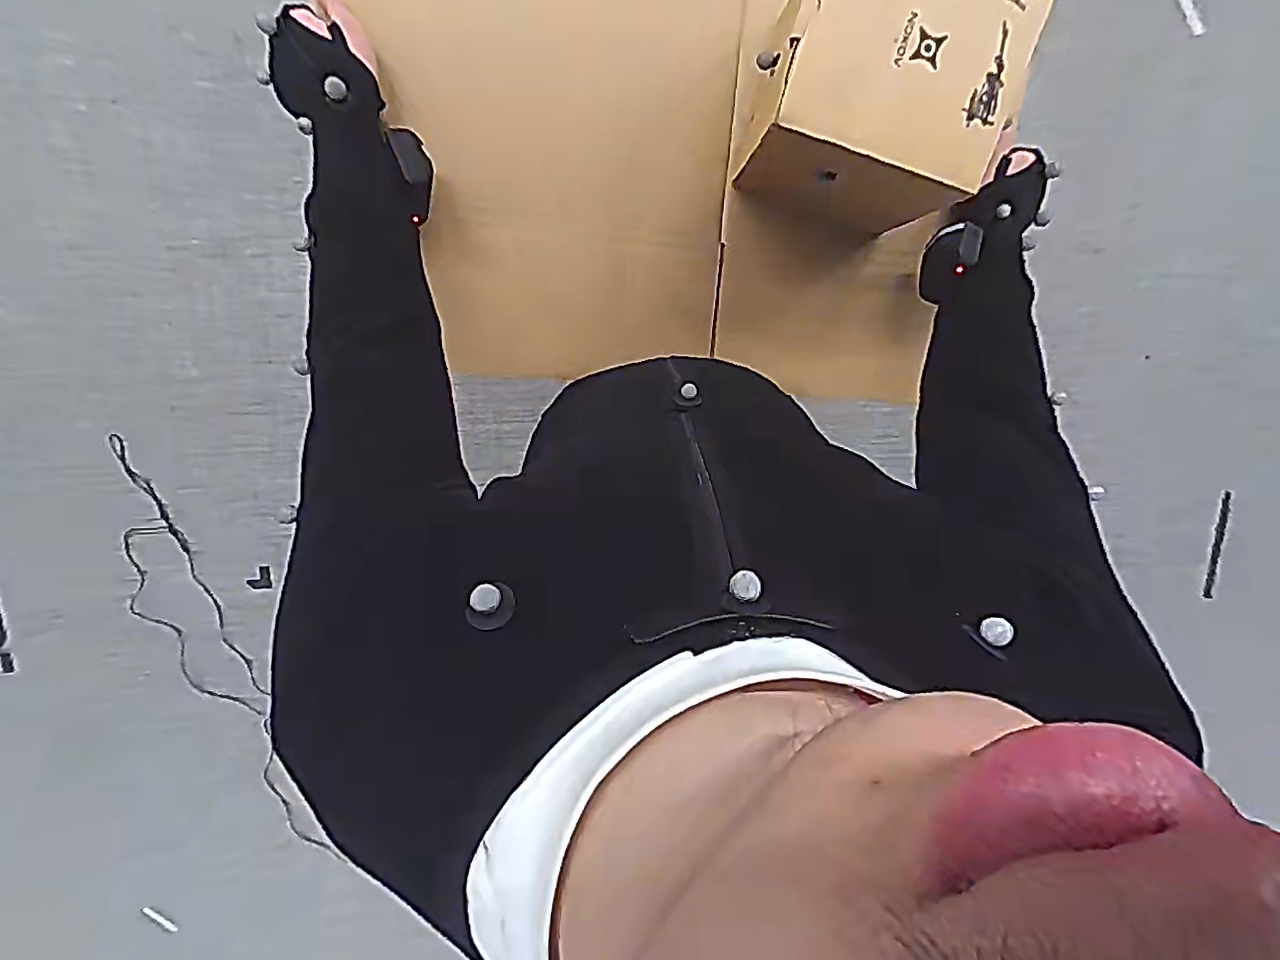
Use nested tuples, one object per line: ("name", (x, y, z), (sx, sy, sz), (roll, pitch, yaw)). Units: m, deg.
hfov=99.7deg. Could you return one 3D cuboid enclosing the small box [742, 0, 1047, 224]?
("small box", (0.207, -0.352, 0.488), (0.179, 0.176, 0.168), (16, 104, -4))
